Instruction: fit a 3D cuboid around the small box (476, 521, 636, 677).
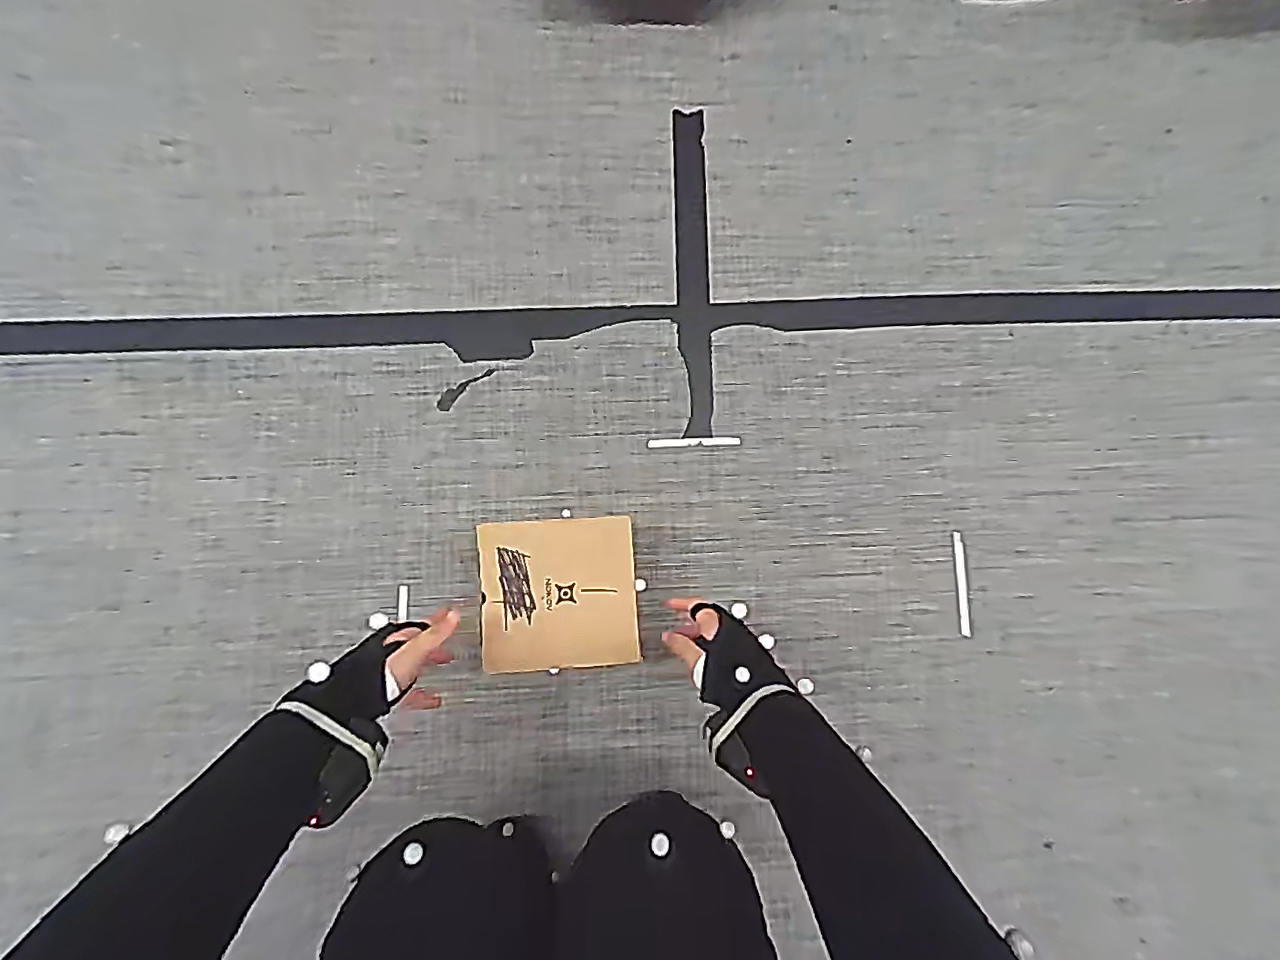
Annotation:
[{"bbox_3d":[-0.098,0.143,0.685,0.179,0.176,0.168,-4,83,-4],"label":"small box"}]
